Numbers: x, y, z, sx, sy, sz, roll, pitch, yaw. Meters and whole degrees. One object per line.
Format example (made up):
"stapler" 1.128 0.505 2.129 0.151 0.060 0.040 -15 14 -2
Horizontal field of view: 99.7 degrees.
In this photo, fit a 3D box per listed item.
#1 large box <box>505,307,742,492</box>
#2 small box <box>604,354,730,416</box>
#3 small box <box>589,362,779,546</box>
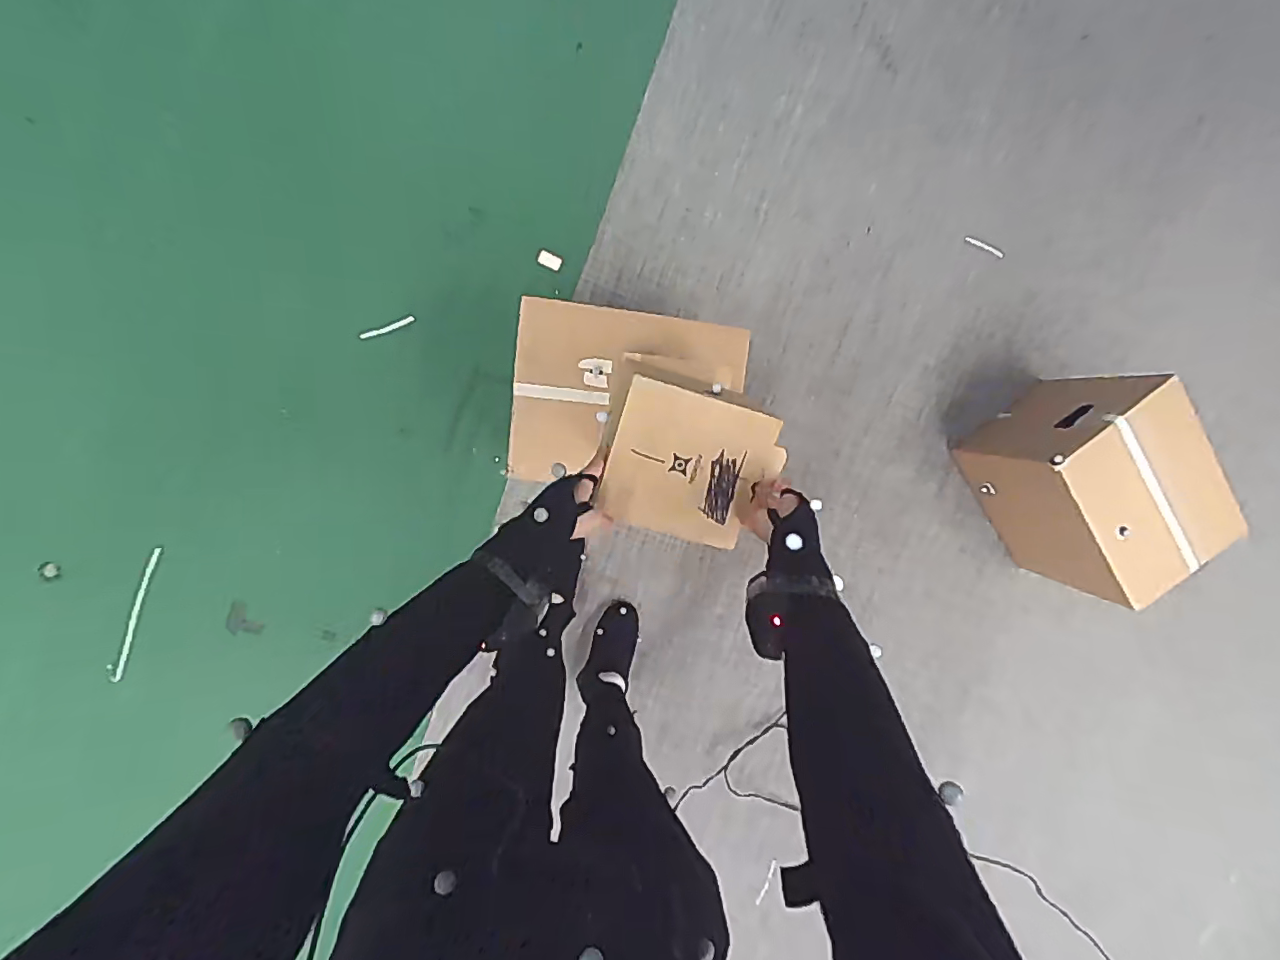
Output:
"large box" -0.042 -0.146 1.098 0.408 0.320 0.320 5 96 -7
"small box" 0.032 -0.097 0.864 0.168 0.176 0.179 6 97 -9
"small box" 0.042 -0.042 0.674 0.179 0.176 0.168 15 106 -9
